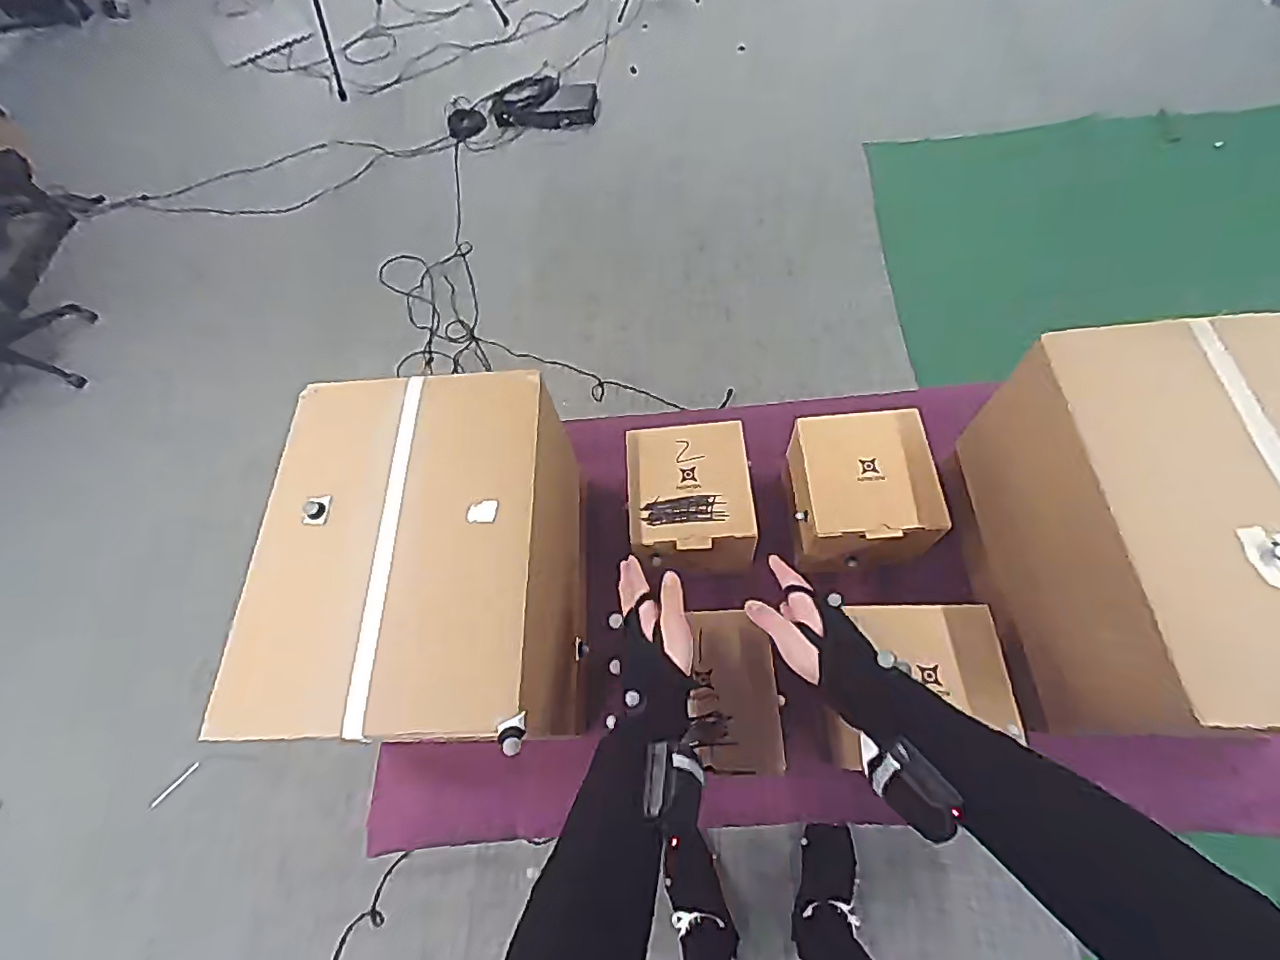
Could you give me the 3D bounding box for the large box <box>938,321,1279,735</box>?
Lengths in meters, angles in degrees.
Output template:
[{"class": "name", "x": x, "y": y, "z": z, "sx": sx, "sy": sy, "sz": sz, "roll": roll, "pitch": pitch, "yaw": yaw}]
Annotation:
[{"class": "large box", "x": 0.613, "y": 0.074, "z": 0.637, "sx": 0.320, "sy": 0.320, "sz": 0.408, "roll": -3, "pitch": 65, "yaw": 6}]
